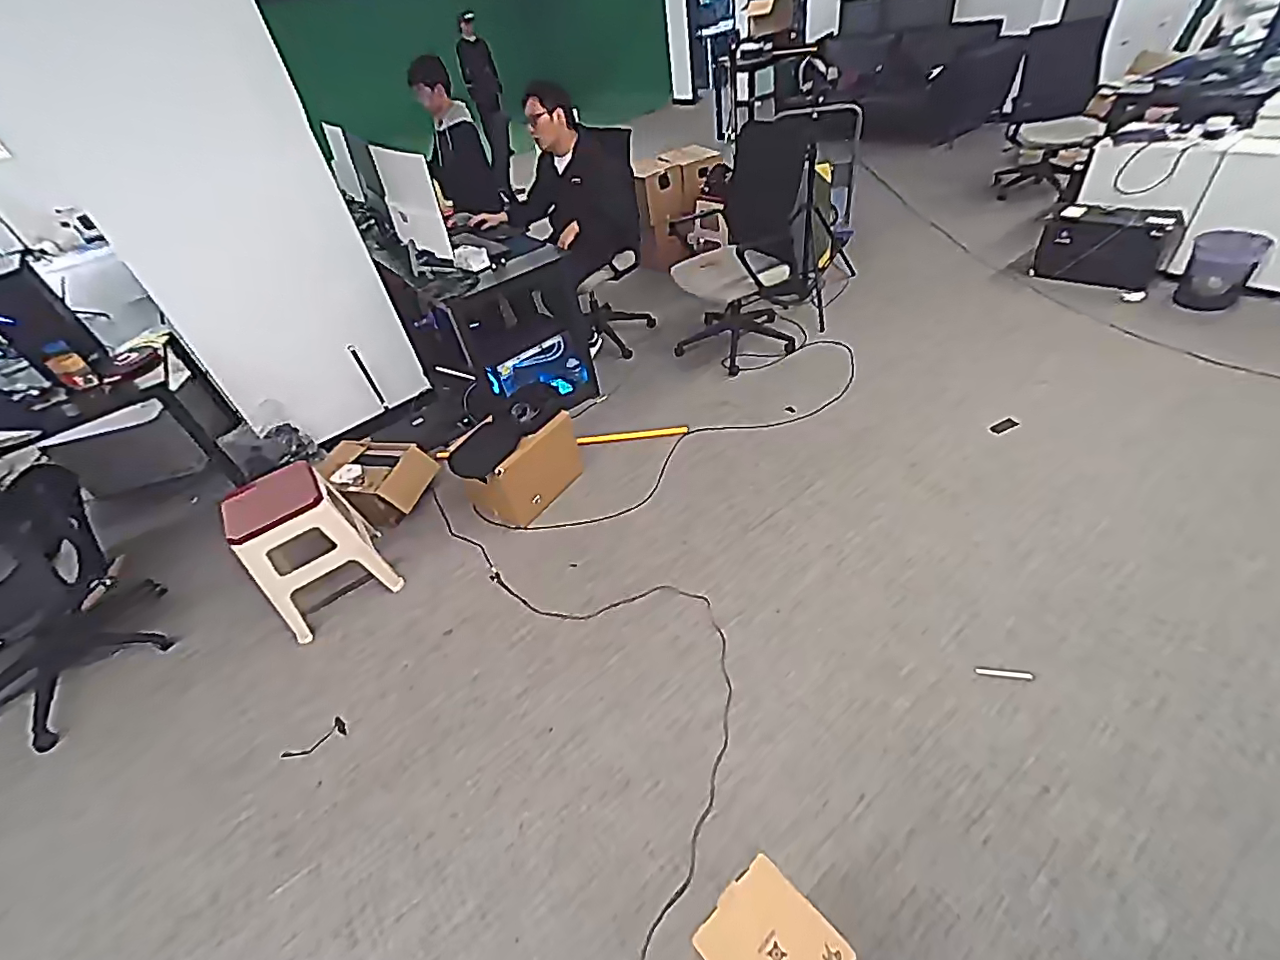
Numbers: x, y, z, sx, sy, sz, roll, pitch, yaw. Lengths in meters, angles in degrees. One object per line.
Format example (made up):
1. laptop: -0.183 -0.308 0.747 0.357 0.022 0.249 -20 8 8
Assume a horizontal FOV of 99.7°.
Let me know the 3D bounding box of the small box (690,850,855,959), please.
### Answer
1. small box: 0.198 0.729 0.831 0.168 0.176 0.179 -35 47 -25
